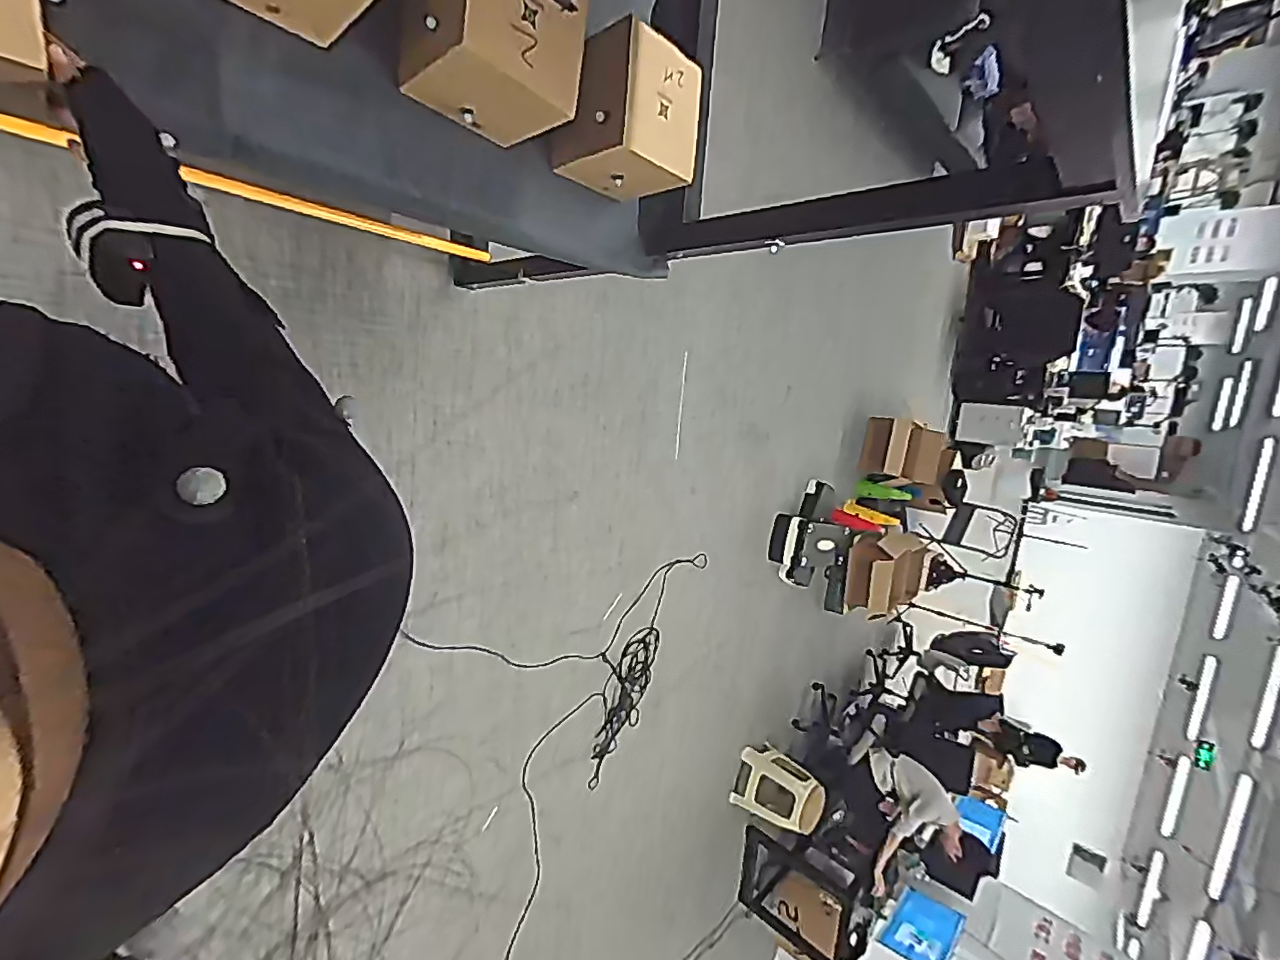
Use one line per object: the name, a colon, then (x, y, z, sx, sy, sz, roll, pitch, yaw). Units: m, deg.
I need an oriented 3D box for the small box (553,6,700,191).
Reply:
small box: (-0.026, -0.594, 0.876, 0.168, 0.176, 0.179, -5, 103, -48)

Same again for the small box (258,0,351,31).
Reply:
small box: (-0.360, -0.586, 0.514, 0.168, 0.176, 0.179, -4, 103, -47)

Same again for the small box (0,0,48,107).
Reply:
small box: (-0.536, -0.396, 0.366, 0.168, 0.176, 0.179, -8, 108, -47)
